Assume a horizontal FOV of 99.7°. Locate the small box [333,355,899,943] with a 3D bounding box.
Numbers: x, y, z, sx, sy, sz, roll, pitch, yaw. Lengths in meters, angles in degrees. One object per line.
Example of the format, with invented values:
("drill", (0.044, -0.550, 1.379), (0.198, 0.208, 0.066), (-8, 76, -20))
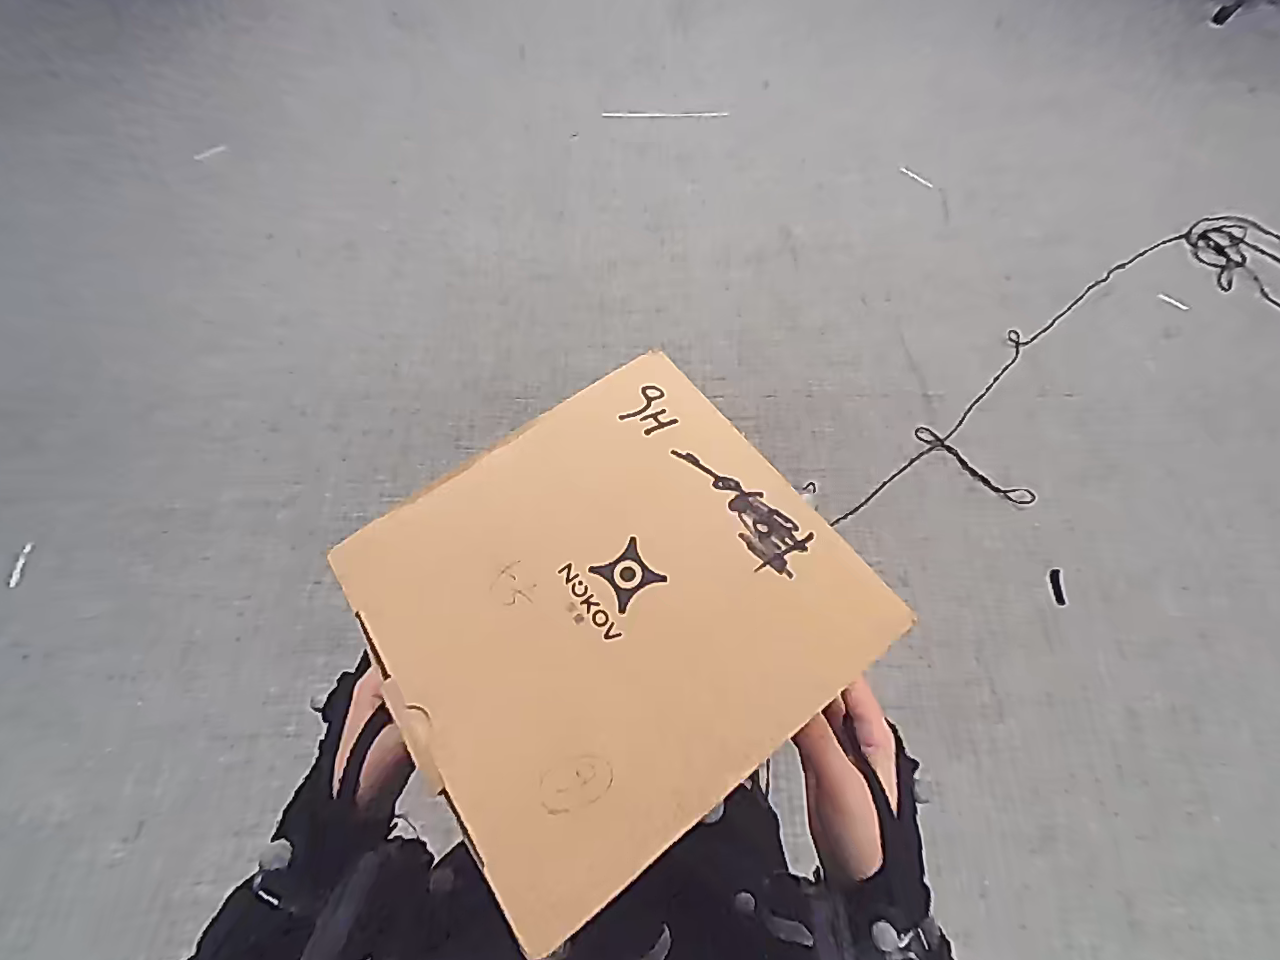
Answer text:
("small box", (-0.011, 0.077, 0.288), (0.179, 0.176, 0.168), (-34, 68, -13))
